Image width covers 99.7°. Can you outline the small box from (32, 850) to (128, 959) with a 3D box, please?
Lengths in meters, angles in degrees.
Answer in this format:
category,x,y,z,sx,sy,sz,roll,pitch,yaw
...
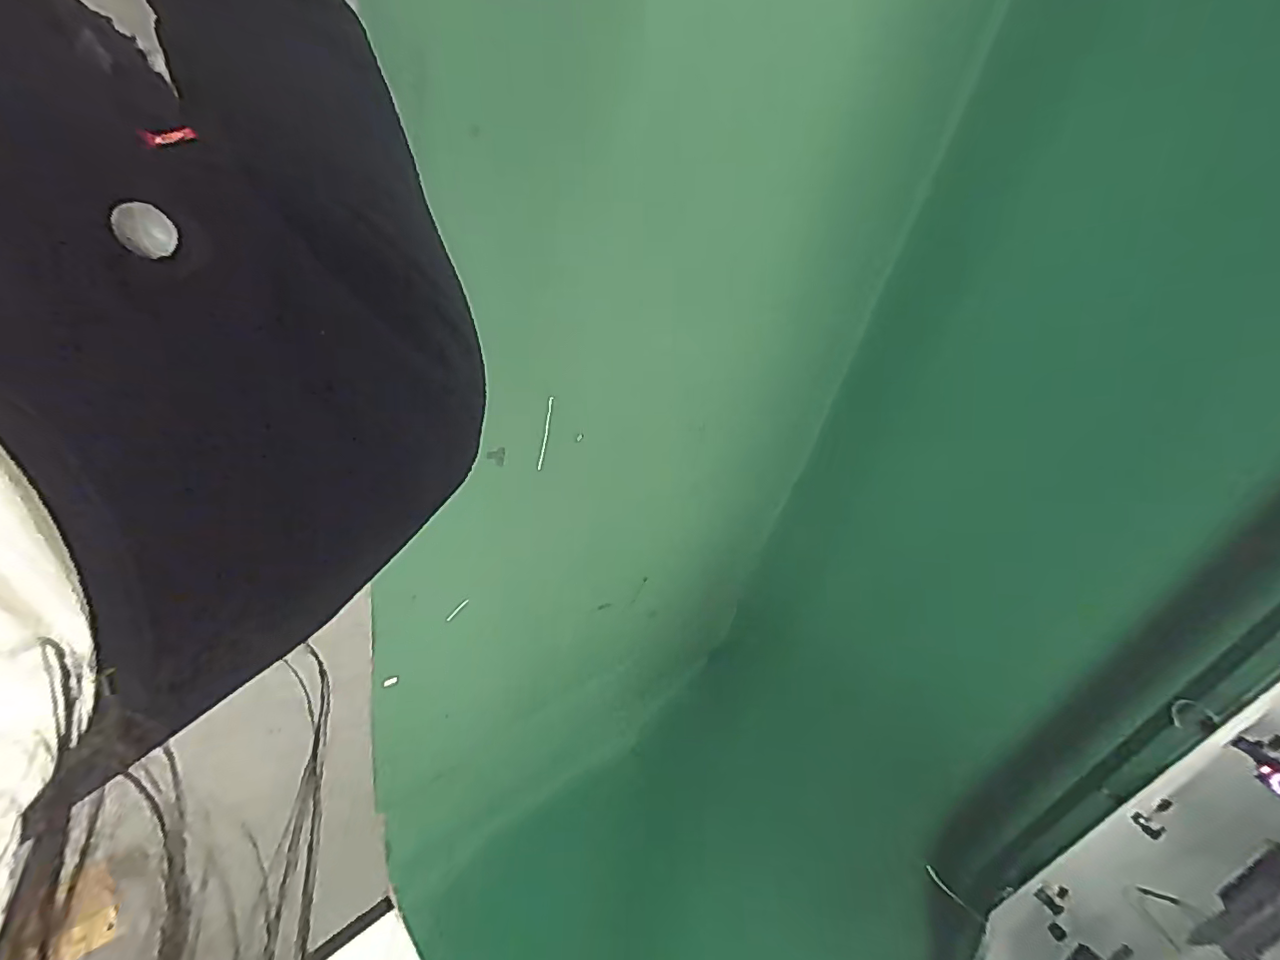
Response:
category,x,y,z,sx,sy,sz,roll,pitch,yaw
small box,-1.677,1.270,1.619,0.179,0.176,0.168,-15,132,-45
